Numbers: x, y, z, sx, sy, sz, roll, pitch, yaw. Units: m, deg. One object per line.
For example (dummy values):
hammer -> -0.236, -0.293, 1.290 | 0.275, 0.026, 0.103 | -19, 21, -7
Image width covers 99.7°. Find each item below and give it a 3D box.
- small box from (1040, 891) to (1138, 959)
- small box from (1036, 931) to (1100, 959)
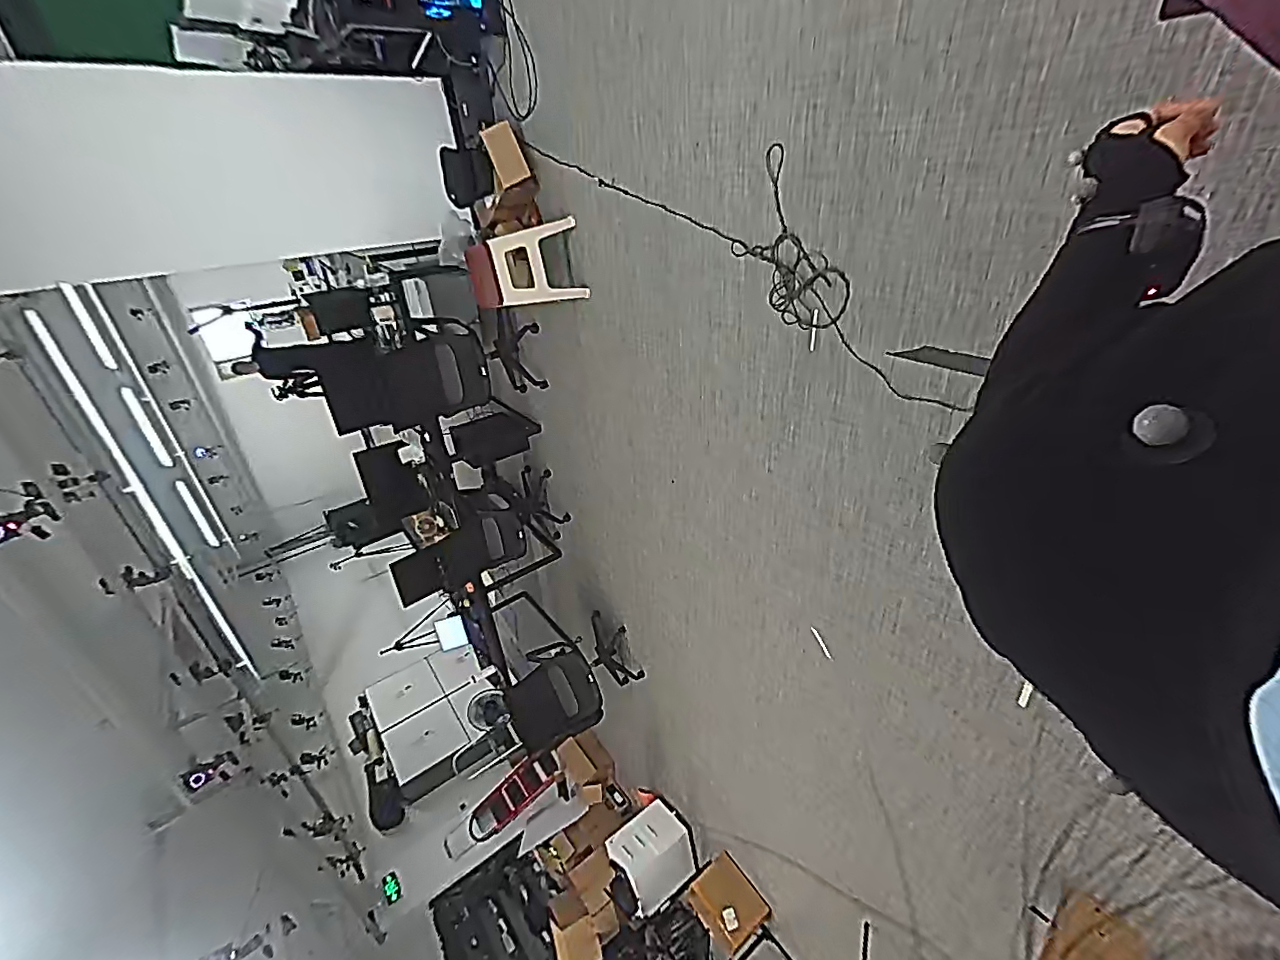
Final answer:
small box -> 1.403, 1.440, 1.685 | 0.168, 0.176, 0.179 | 34, 138, 43
small box -> 1.277, 1.492, 1.595 | 0.179, 0.176, 0.168 | 24, 130, 48
